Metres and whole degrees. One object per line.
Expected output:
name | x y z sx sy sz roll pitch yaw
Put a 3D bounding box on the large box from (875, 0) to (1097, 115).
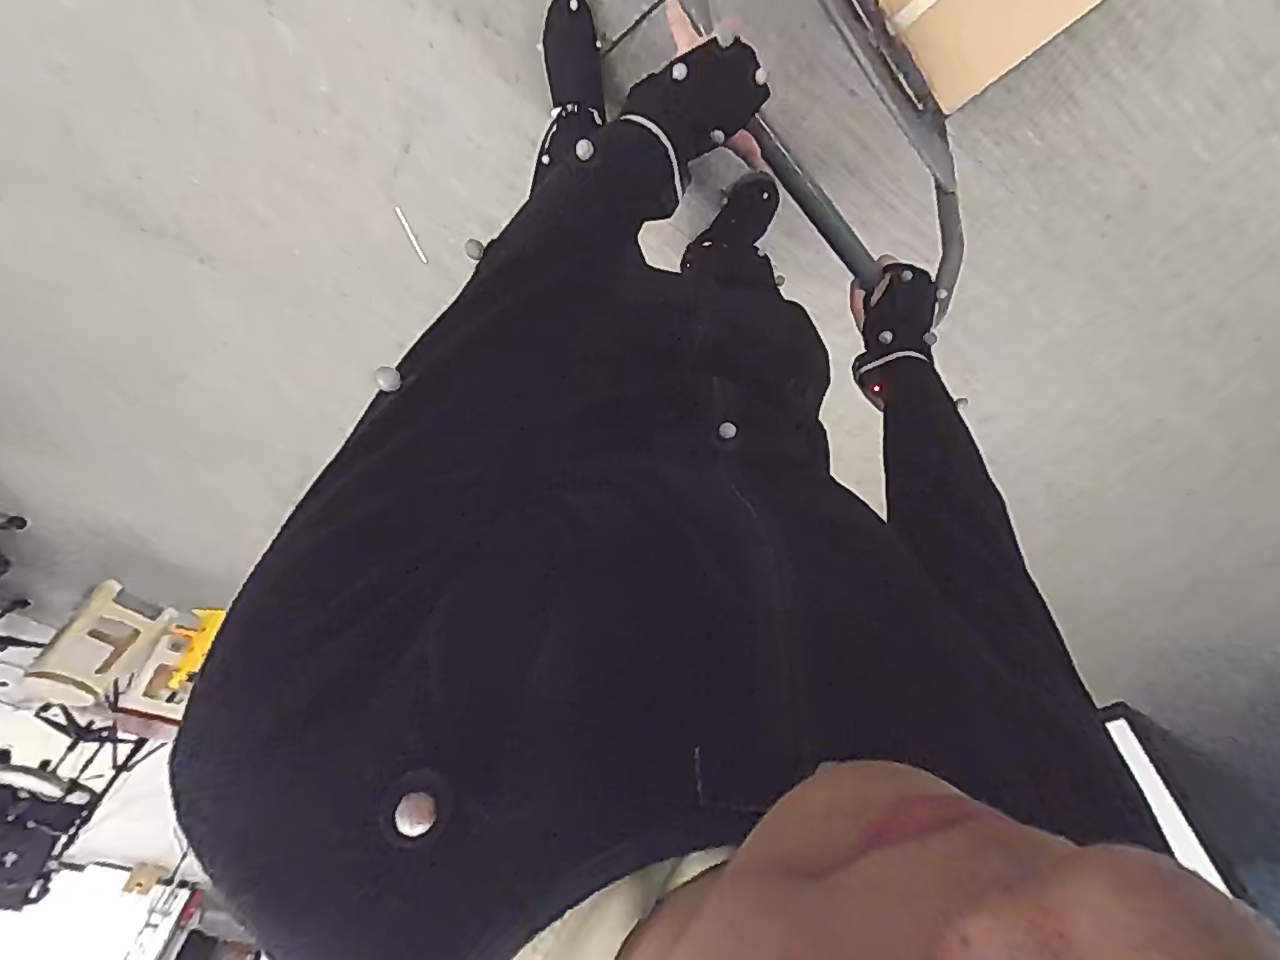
large box | 0.511 -0.810 0.709 0.320 0.320 0.408 36 138 -26
